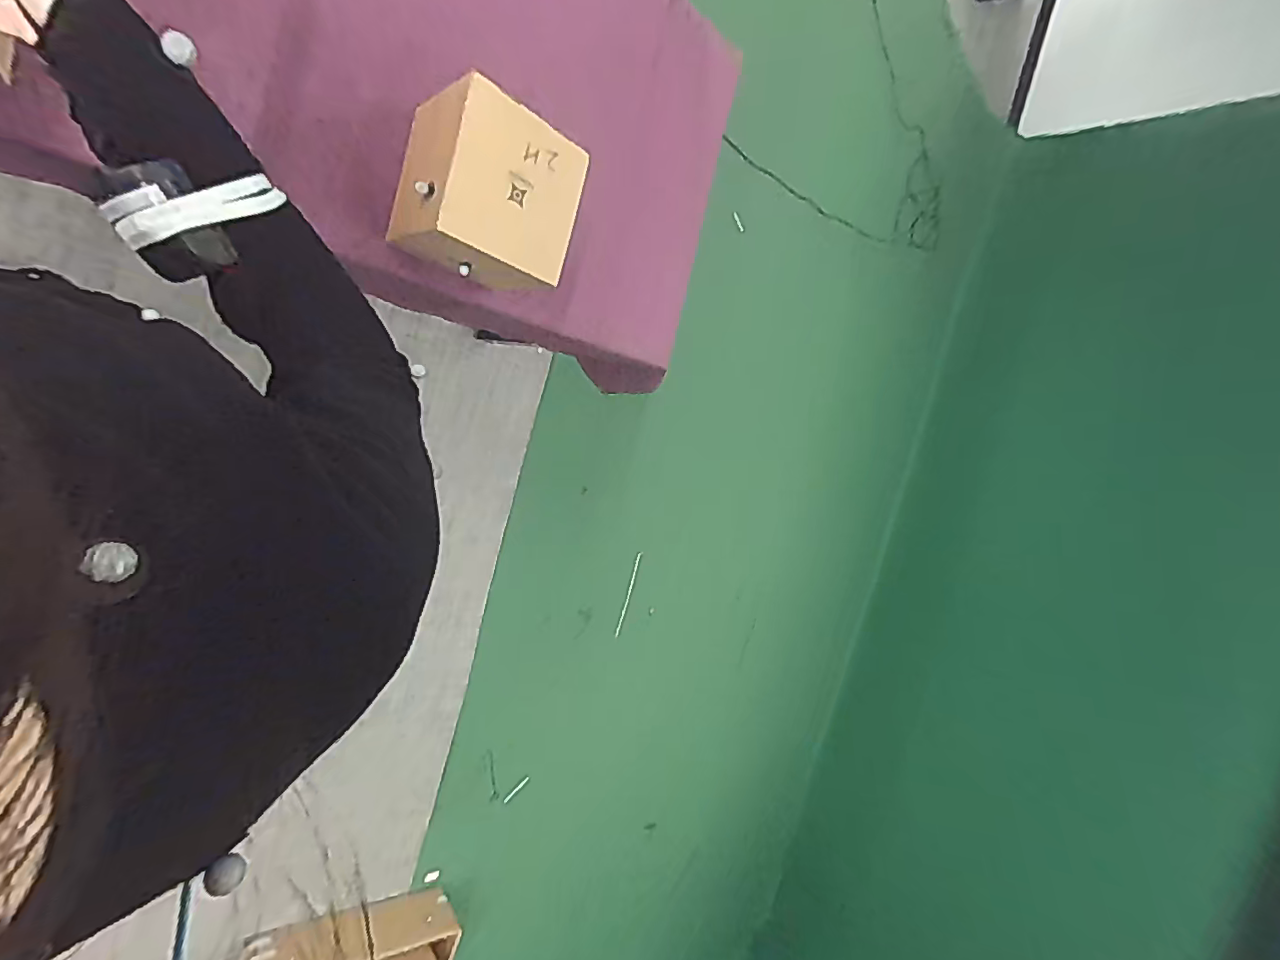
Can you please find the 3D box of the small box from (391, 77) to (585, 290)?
[{"bbox_3d":[-0.202,-0.361,0.703,0.168,0.176,0.179,12,95,-46],"label":"small box"}]
